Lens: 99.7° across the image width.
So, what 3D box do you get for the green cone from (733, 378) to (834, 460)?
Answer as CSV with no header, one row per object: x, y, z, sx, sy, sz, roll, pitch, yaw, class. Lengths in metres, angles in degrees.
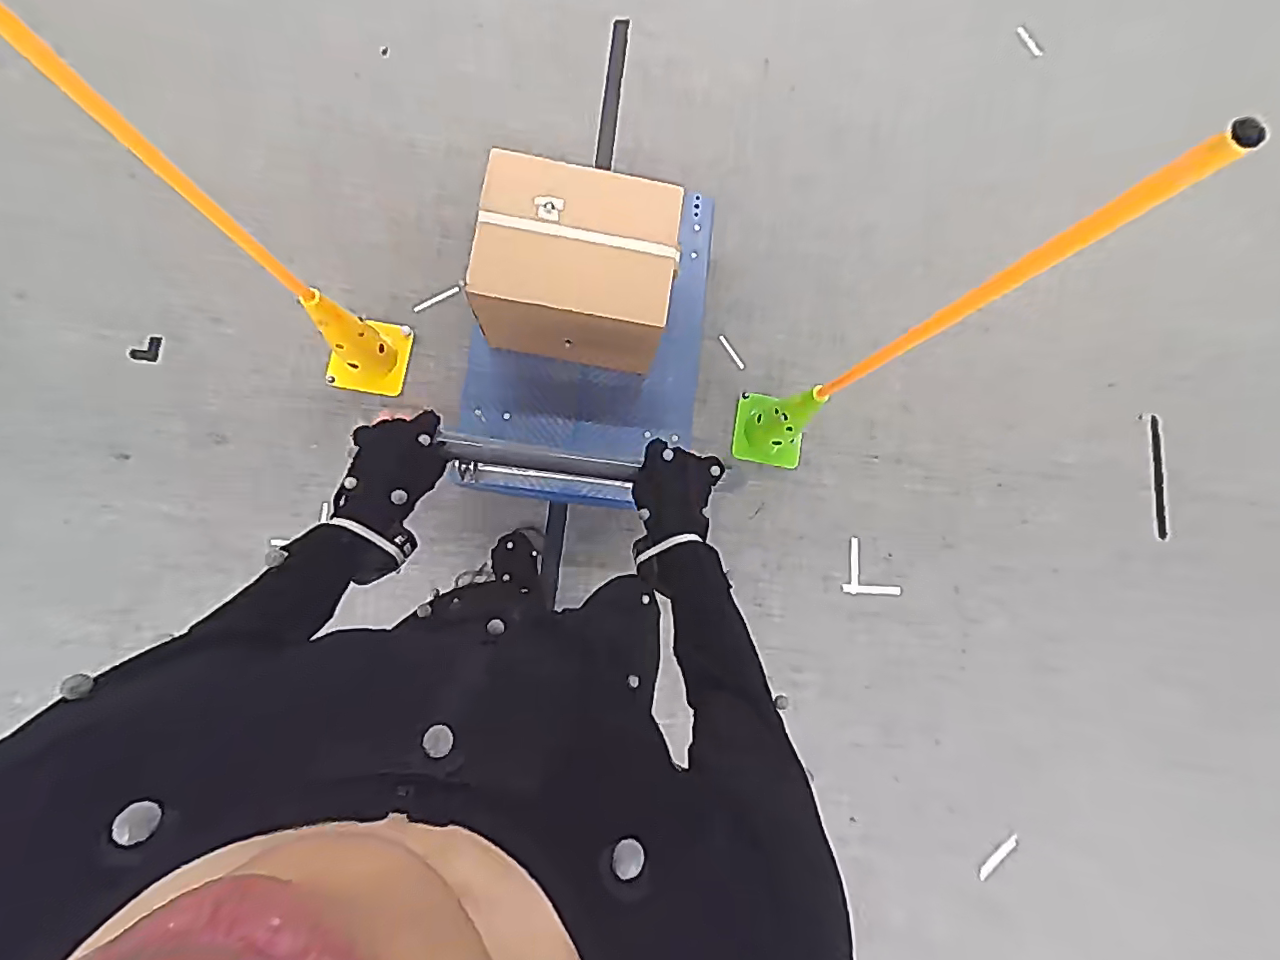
0.397,-0.189,1.407,0.202,0.368,0.200,10,82,-6,green cone

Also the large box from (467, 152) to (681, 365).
-0.139,-0.480,1.246,0.408,0.320,0.320,9,83,-4,large box
